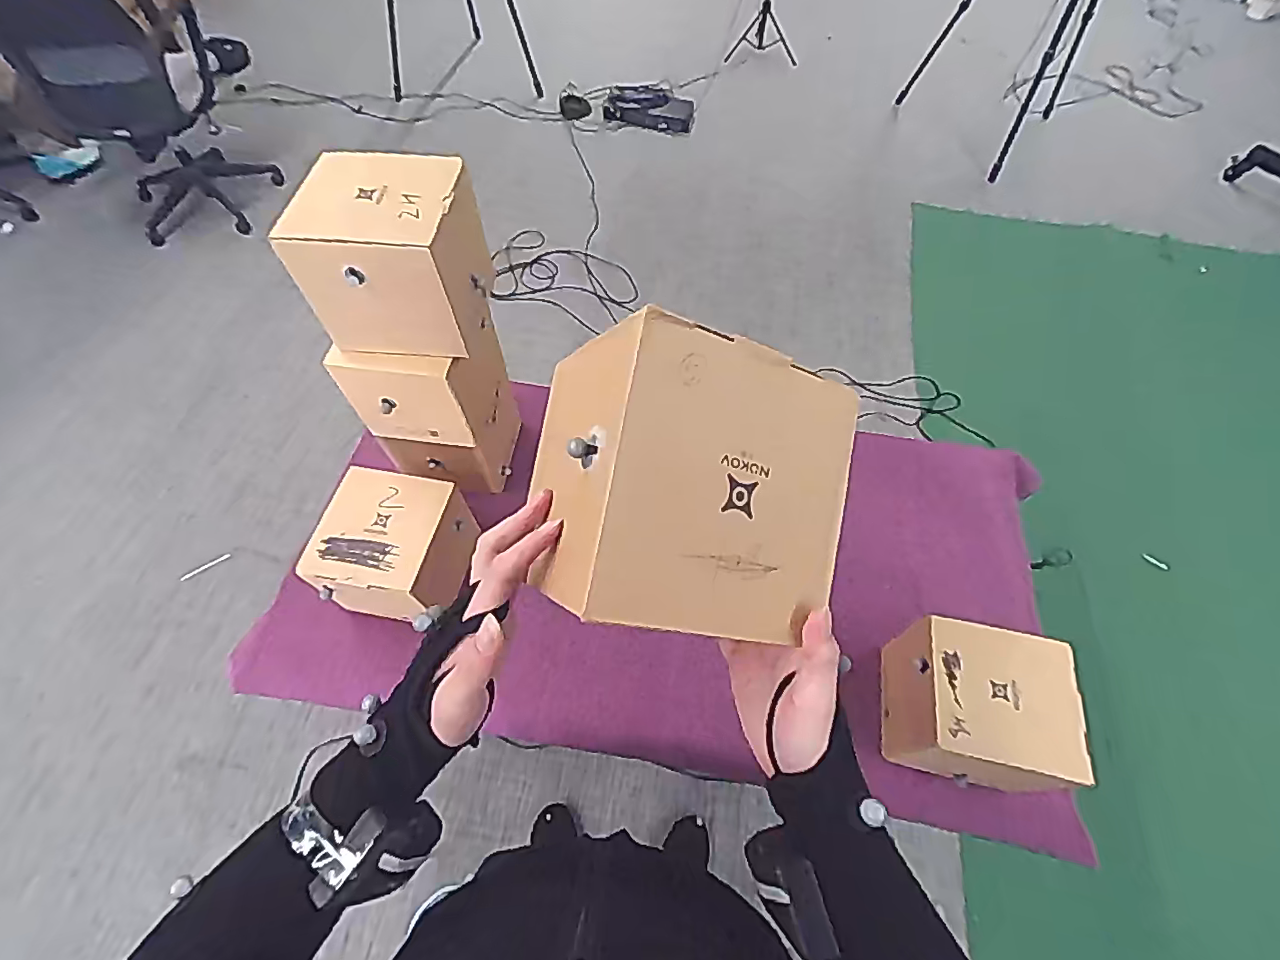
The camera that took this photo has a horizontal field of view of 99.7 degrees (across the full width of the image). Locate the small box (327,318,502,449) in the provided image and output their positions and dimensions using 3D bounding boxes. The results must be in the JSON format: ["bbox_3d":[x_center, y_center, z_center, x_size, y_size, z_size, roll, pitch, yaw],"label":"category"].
[{"bbox_3d":[-0.317,-0.166,0.807,0.168,0.176,0.179,7,59,3],"label":"small box"}]

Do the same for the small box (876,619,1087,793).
[{"bbox_3d":[0.441,0.309,0.730,0.179,0.176,0.168,12,58,6],"label":"small box"}]

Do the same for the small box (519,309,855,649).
[{"bbox_3d":[0.023,0.008,0.395,0.168,0.176,0.179,15,83,-25],"label":"small box"}]

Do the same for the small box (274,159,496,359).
[{"bbox_3d":[-0.298,-0.270,0.678,0.179,0.176,0.168,4,59,1],"label":"small box"}]
